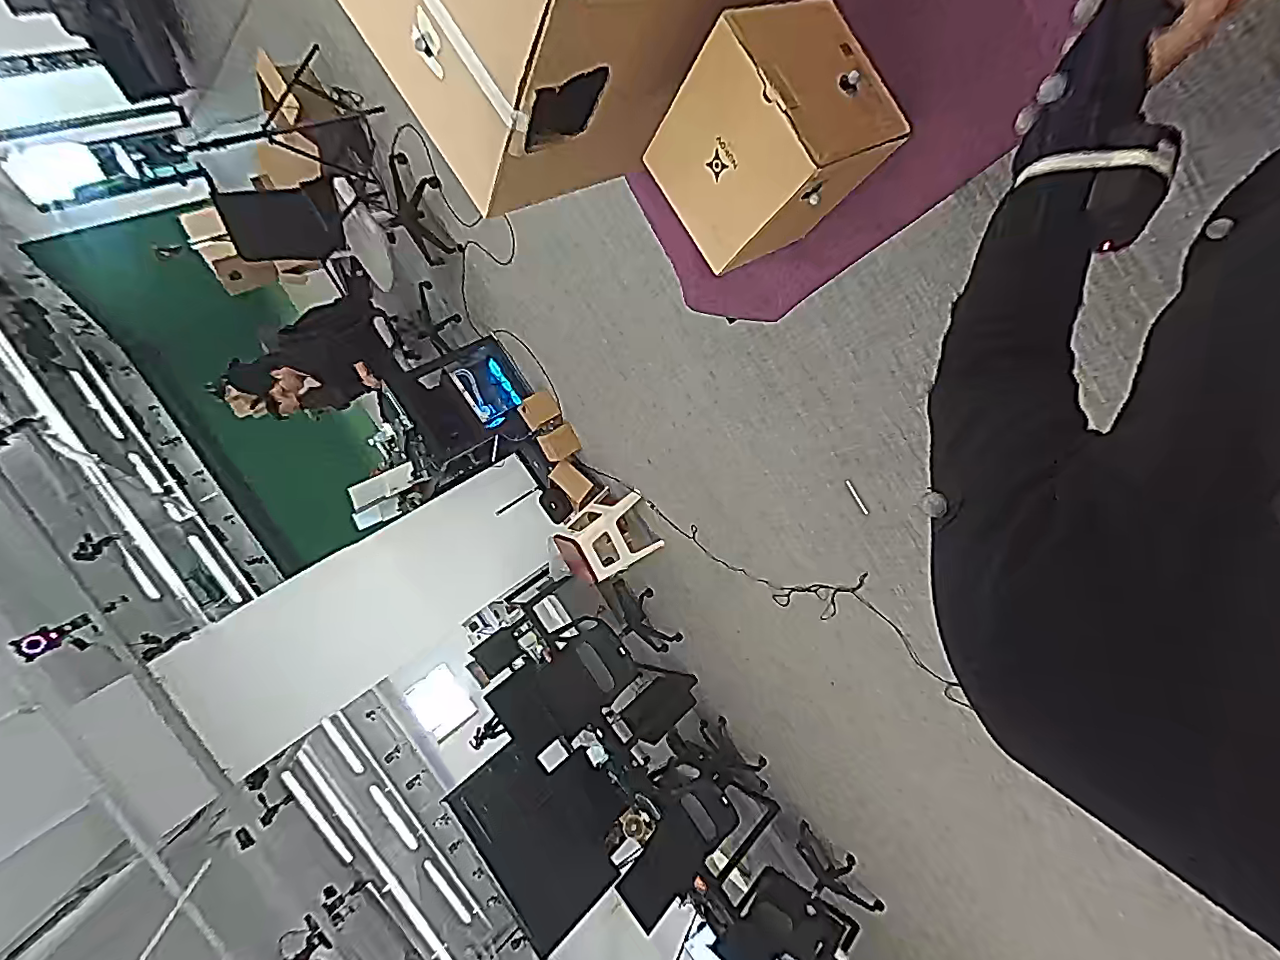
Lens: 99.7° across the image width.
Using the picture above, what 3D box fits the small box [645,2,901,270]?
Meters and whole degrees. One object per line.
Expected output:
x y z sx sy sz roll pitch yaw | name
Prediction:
0.142 -0.371 0.597 0.168 0.176 0.179 57 152 -1 | small box

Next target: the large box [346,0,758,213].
-0.119 -0.603 0.598 0.408 0.320 0.320 54 152 -4 | large box
